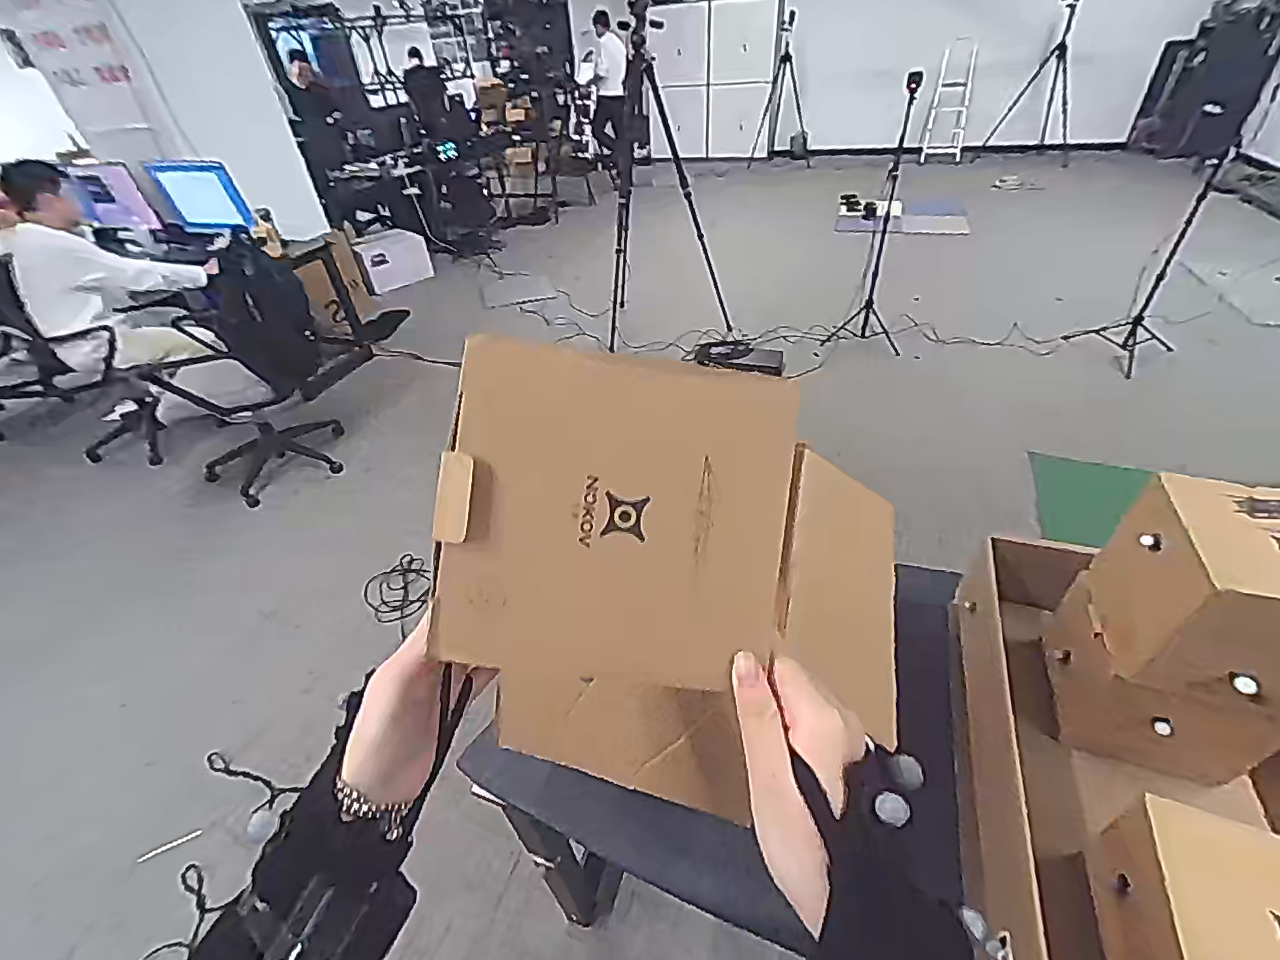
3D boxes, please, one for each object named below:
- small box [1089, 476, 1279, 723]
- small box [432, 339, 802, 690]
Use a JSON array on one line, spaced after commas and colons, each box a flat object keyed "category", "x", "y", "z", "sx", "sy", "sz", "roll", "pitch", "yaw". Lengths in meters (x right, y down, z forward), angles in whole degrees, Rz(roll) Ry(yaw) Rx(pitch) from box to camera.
[{"category": "small box", "x": 0.631, "y": 0.124, "z": 0.585, "sx": 0.168, "sy": 0.176, "sz": 0.179, "roll": 10, "pitch": 43, "yaw": 18}, {"category": "small box", "x": -0.015, "y": 0.019, "z": 0.359, "sx": 0.179, "sy": 0.168, "sz": 0.176, "roll": 7, "pitch": 0, "yaw": -5}]
